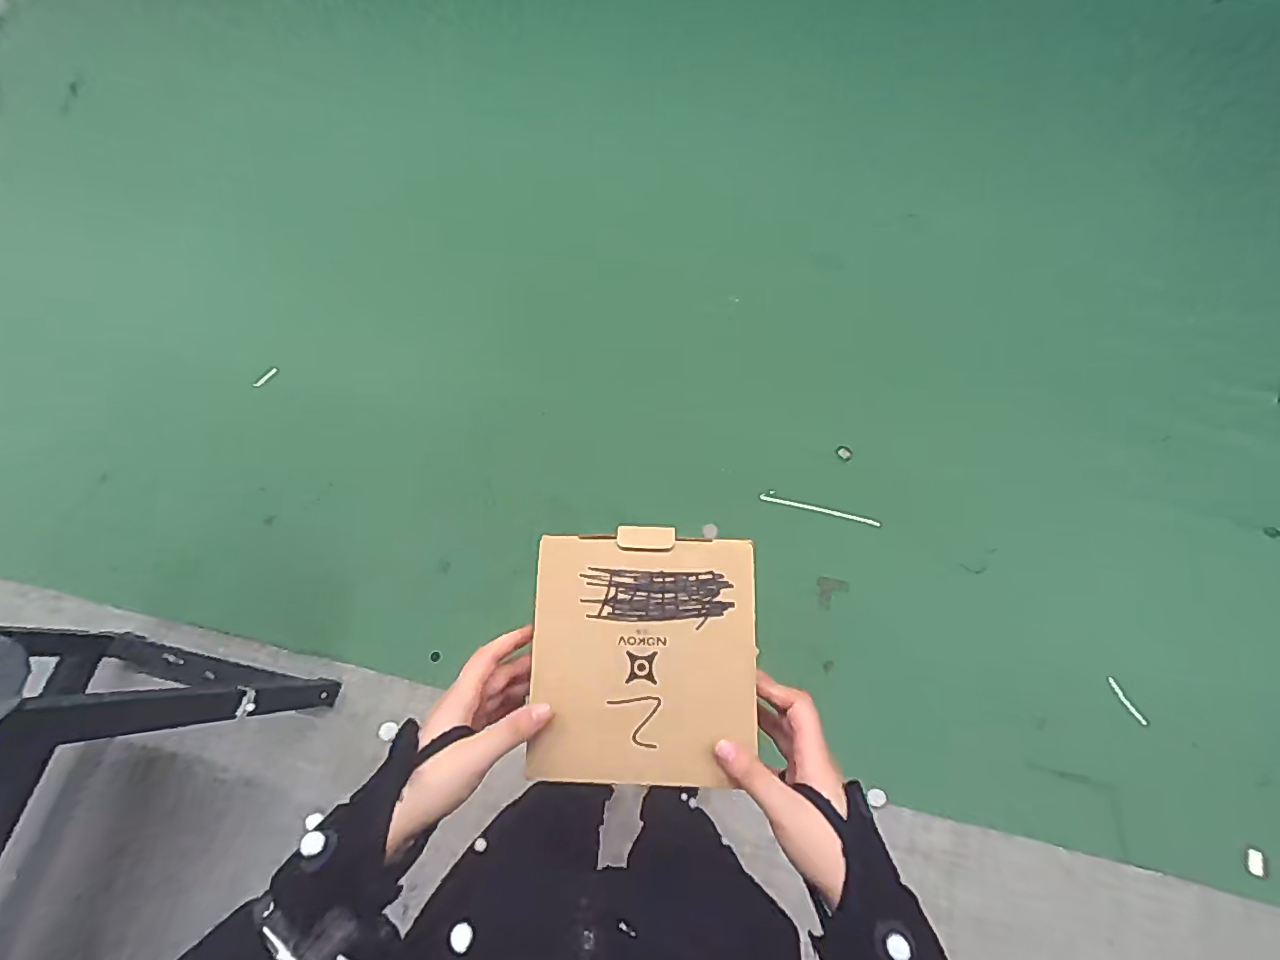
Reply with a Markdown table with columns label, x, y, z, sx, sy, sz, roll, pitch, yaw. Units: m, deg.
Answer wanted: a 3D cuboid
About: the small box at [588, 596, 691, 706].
| label | x | y | z | sx | sy | sz | roll | pitch | yaw |
| --- | --- | --- | --- | --- | --- | --- | --- | --- | --- |
| small box | 0.001 | 0.389 | 1.241 | 0.168 | 0.176 | 0.179 | -30 | 73 | -9 |
